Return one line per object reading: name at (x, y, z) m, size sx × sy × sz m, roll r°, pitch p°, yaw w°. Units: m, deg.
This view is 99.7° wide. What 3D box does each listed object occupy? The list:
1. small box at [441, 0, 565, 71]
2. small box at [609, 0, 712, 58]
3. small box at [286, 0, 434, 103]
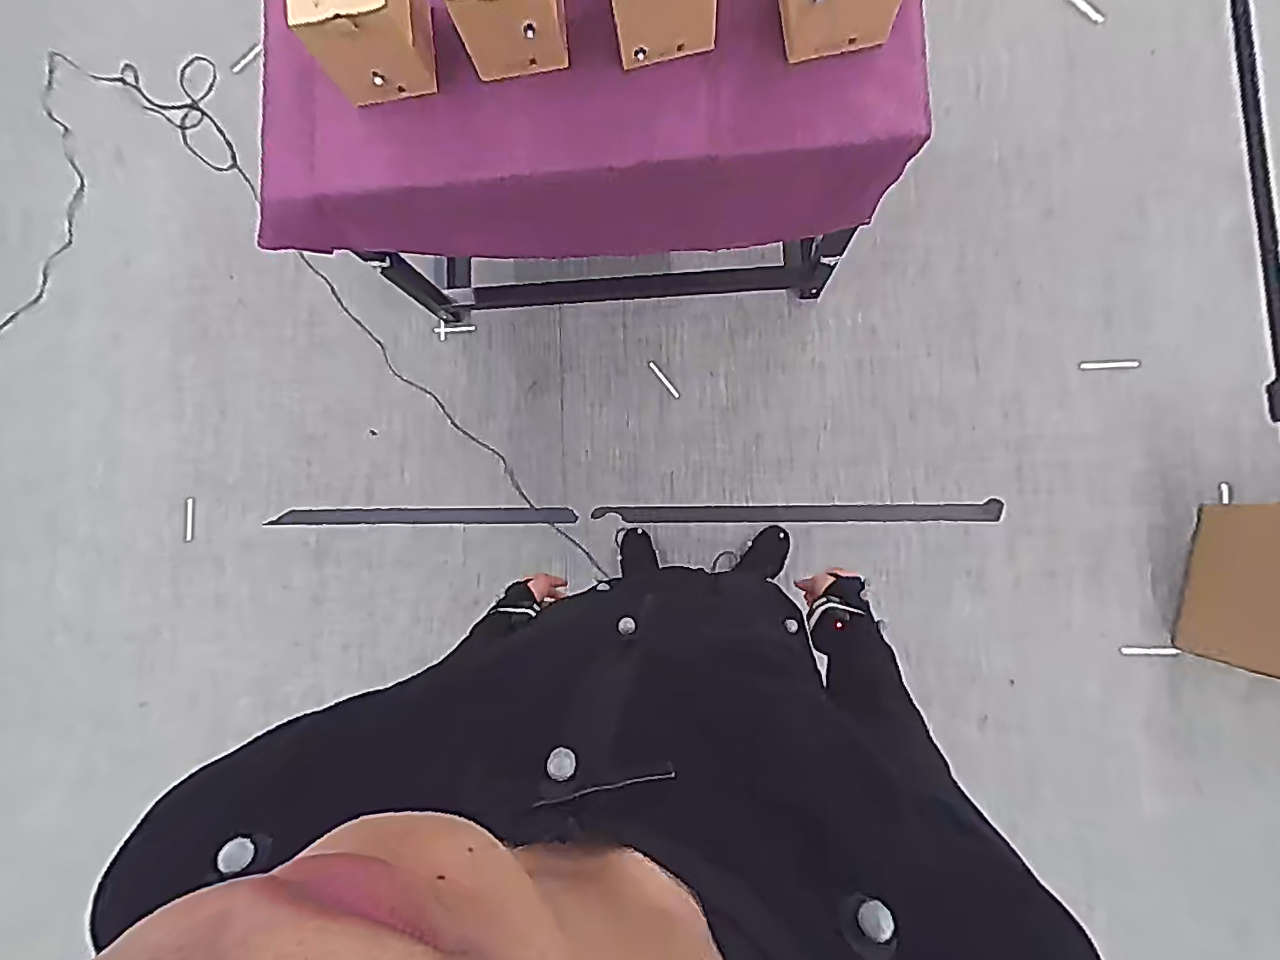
small box at (-0.227, -0.832, 0.911) m, size 0.168 × 0.176 × 0.179 m, roll -5°, pitch 85°, yaw 5°
small box at (0.025, -0.839, 0.885) m, size 0.168 × 0.176 × 0.179 m, roll -10°, pitch 85°, yaw 5°
small box at (-0.475, -0.803, 0.932) m, size 0.168 × 0.176 × 0.179 m, roll -6°, pitch 86°, yaw 6°
